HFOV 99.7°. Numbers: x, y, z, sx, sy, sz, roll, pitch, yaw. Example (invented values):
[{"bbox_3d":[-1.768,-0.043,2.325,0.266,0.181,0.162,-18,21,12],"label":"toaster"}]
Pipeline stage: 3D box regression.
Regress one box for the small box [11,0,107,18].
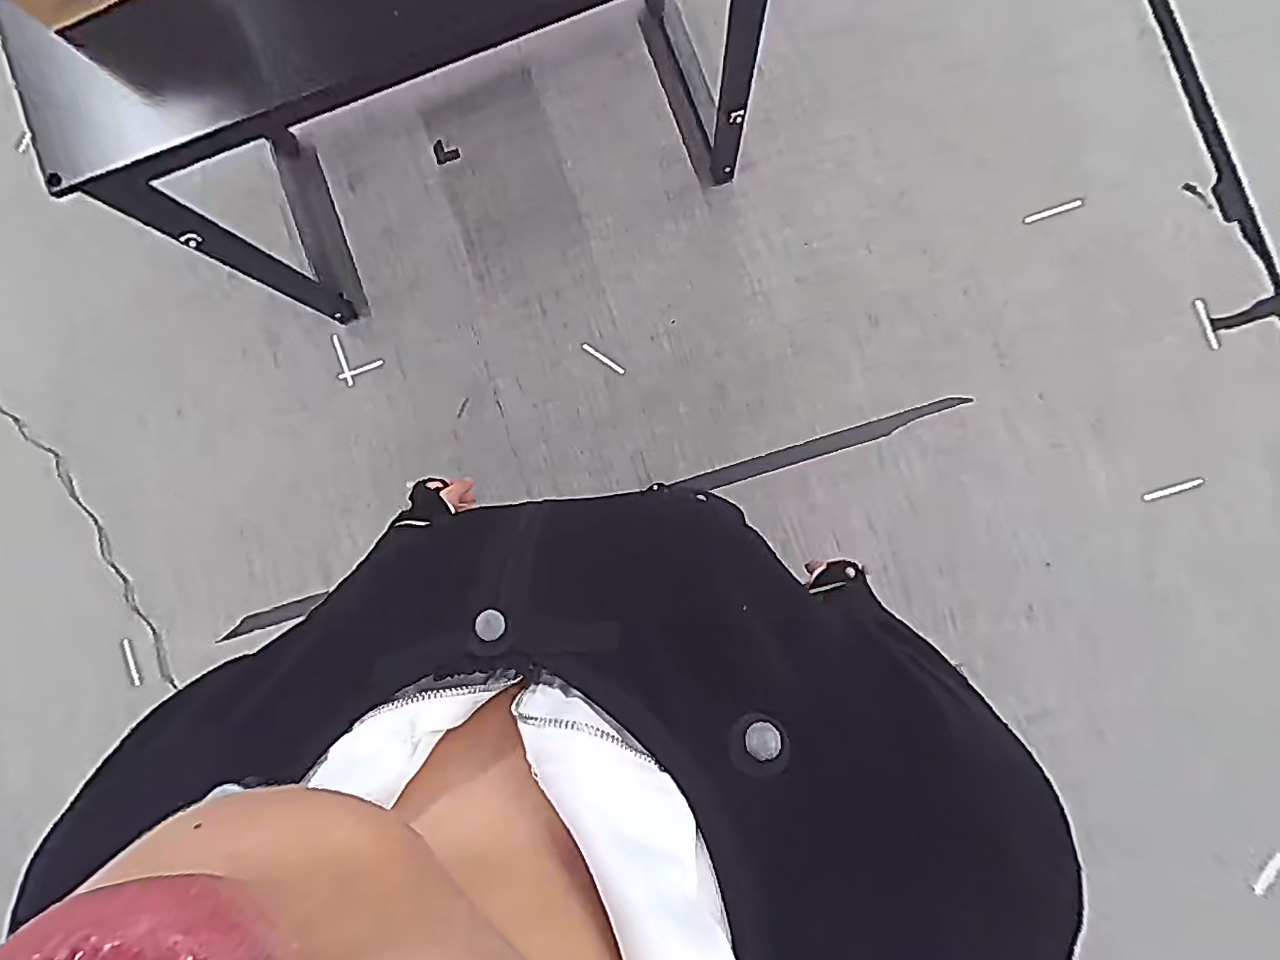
[{"bbox_3d":[-0.863,-0.792,0.741,0.168,0.176,0.179,-23,87,1],"label":"small box"}]
